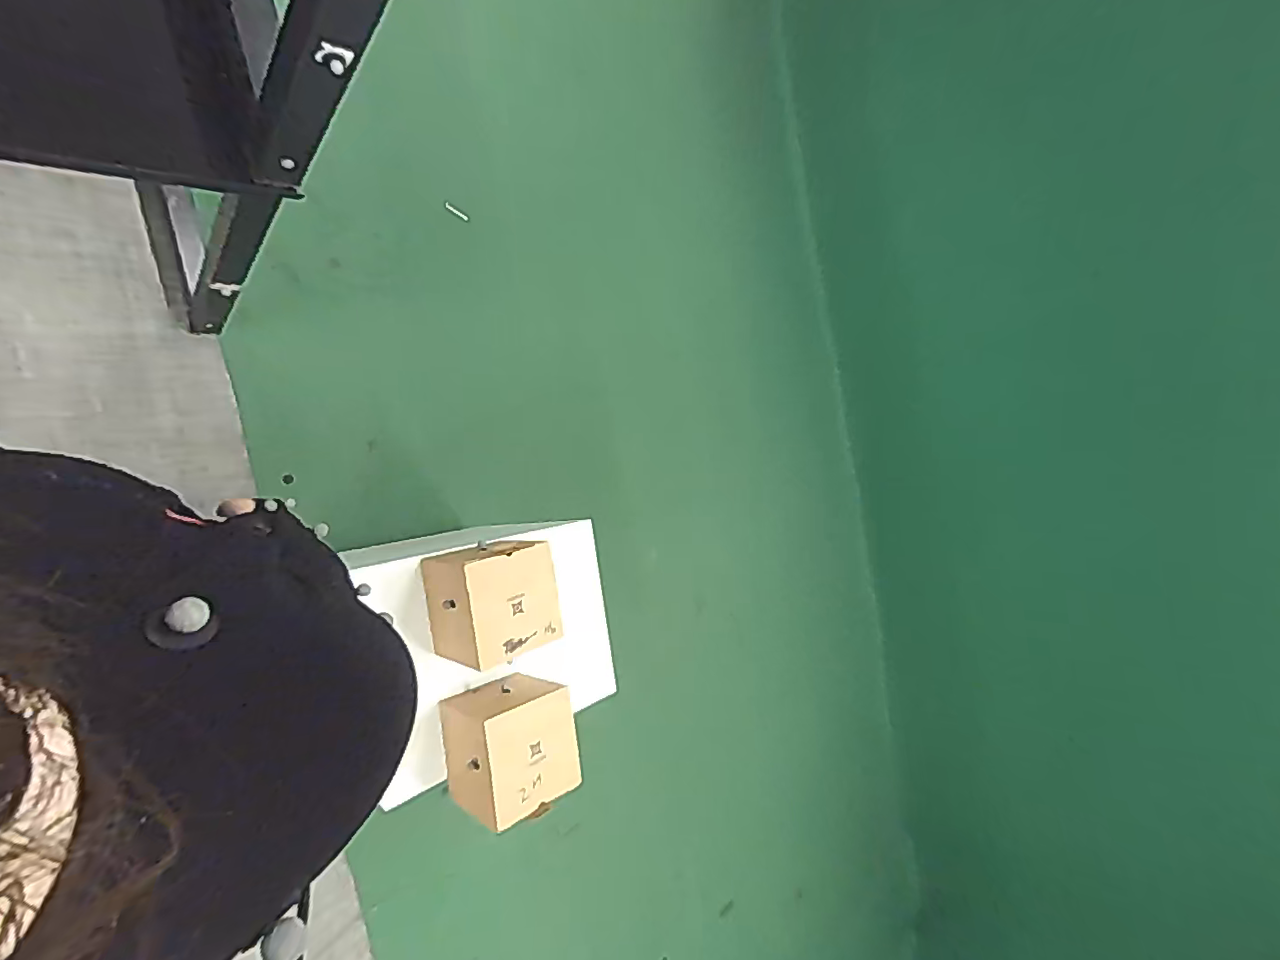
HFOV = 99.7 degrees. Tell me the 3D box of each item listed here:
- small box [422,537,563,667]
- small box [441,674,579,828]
[{"bbox_3d":[-0.260,0.201,0.940,0.168,0.176,0.179,-11,93,-44],"label":"small box"},{"bbox_3d":[-0.229,0.450,0.938,0.168,0.176,0.179,-7,90,-44],"label":"small box"}]
